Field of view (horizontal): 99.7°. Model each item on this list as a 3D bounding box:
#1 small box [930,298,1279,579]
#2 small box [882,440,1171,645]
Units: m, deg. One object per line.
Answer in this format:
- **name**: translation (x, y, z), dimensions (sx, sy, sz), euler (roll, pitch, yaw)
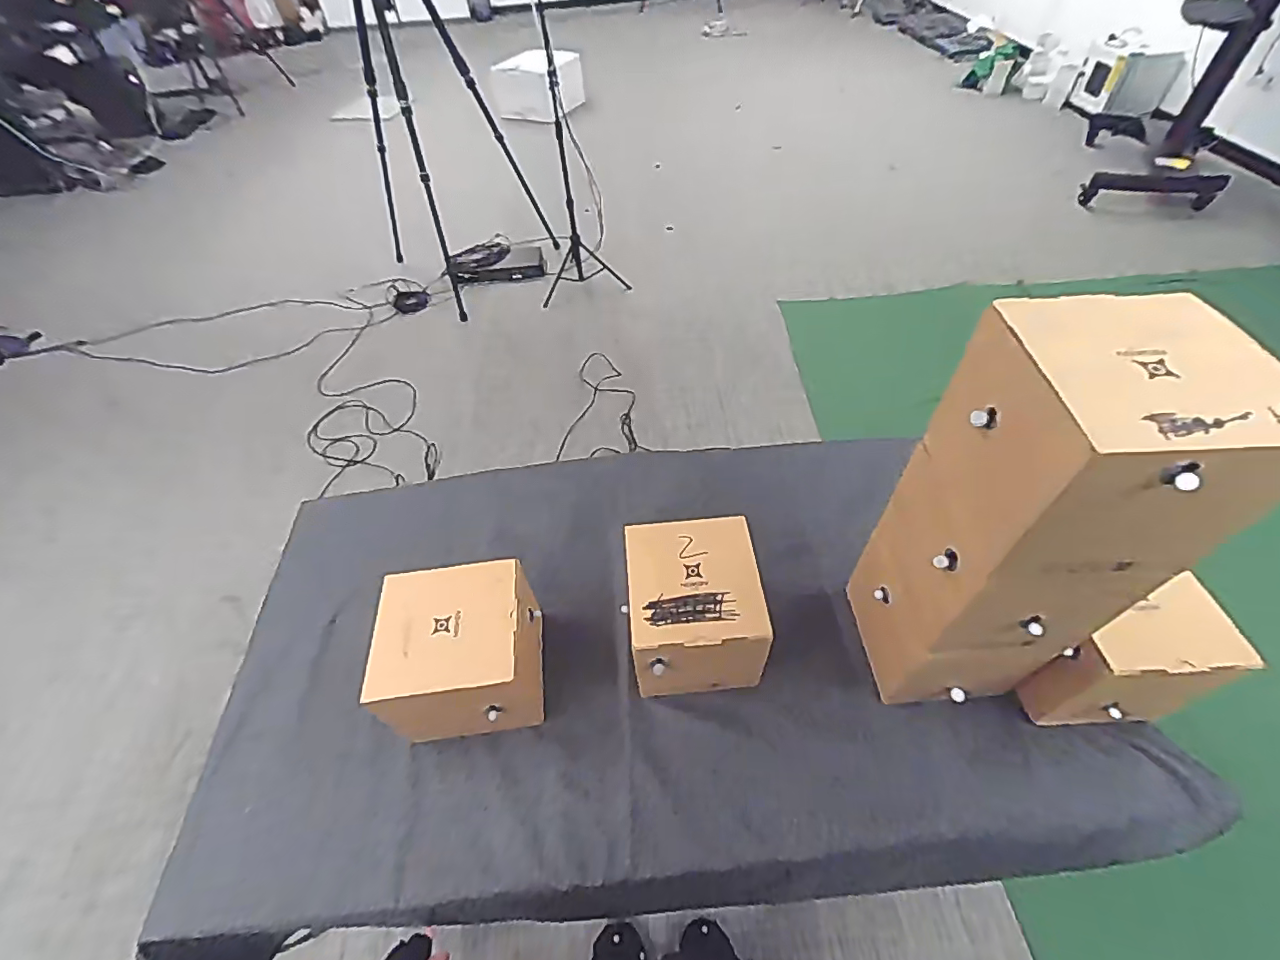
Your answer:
- **small box**: translation (0.379, -0.034, 0.463), dimensions (0.168, 0.176, 0.179), euler (-2, 50, 3)
- **small box**: translation (0.390, 0.071, 0.590), dimensions (0.168, 0.176, 0.179), euler (-3, 50, 2)
